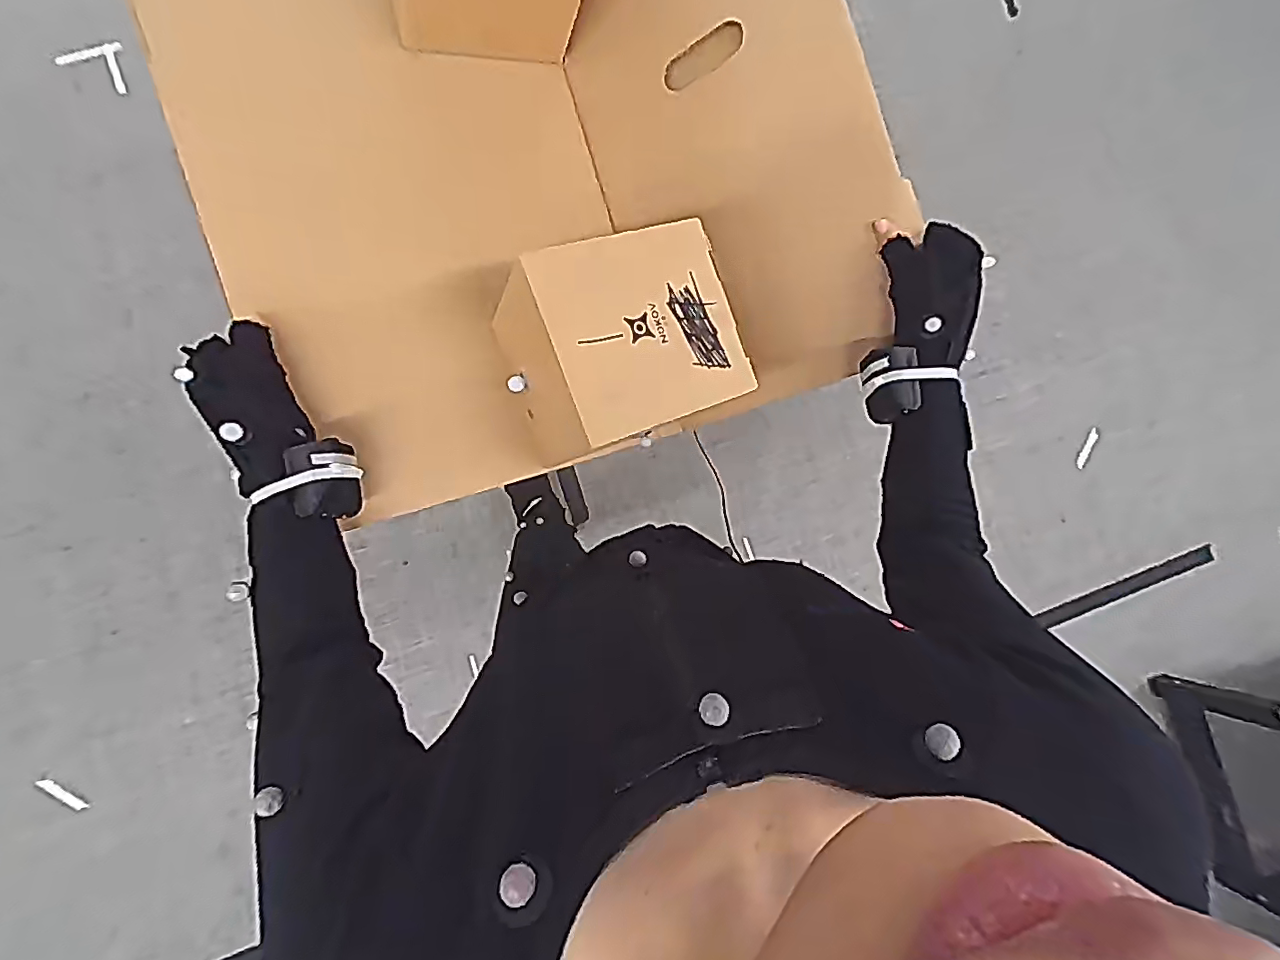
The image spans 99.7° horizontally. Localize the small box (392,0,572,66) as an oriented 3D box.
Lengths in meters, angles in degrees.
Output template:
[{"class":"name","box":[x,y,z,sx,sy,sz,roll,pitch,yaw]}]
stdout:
[{"class":"small box","box":[-0.161,-0.550,0.527,0.179,0.176,0.168,-13,90,-24]}]
